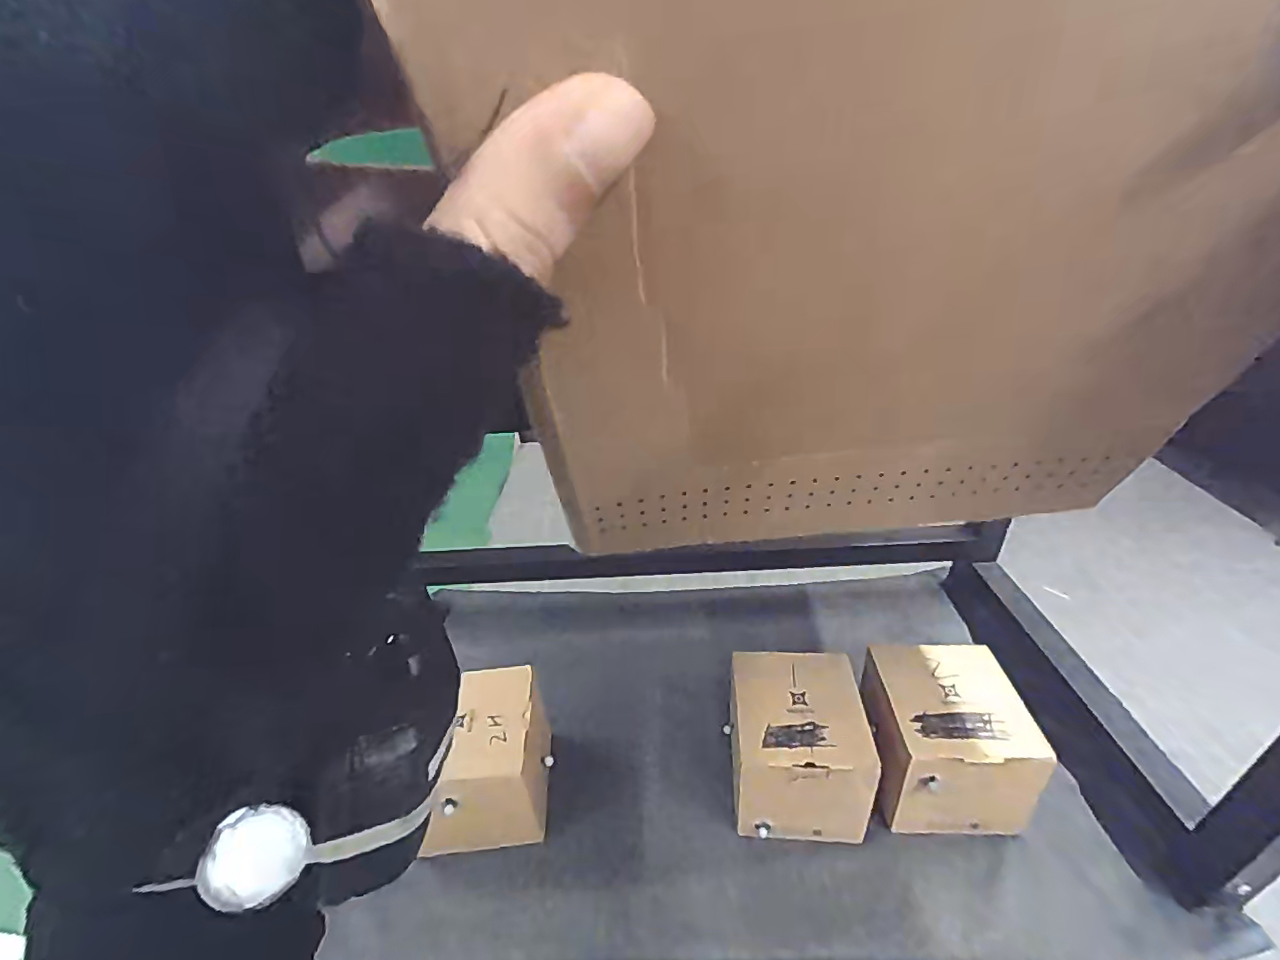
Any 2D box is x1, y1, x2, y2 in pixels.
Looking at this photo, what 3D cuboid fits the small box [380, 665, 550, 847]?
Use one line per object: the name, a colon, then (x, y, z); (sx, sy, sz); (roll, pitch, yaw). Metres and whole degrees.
small box: (-0.233, 0.392, 0.770); (0.179, 0.176, 0.168); (-5, 32, -2)
